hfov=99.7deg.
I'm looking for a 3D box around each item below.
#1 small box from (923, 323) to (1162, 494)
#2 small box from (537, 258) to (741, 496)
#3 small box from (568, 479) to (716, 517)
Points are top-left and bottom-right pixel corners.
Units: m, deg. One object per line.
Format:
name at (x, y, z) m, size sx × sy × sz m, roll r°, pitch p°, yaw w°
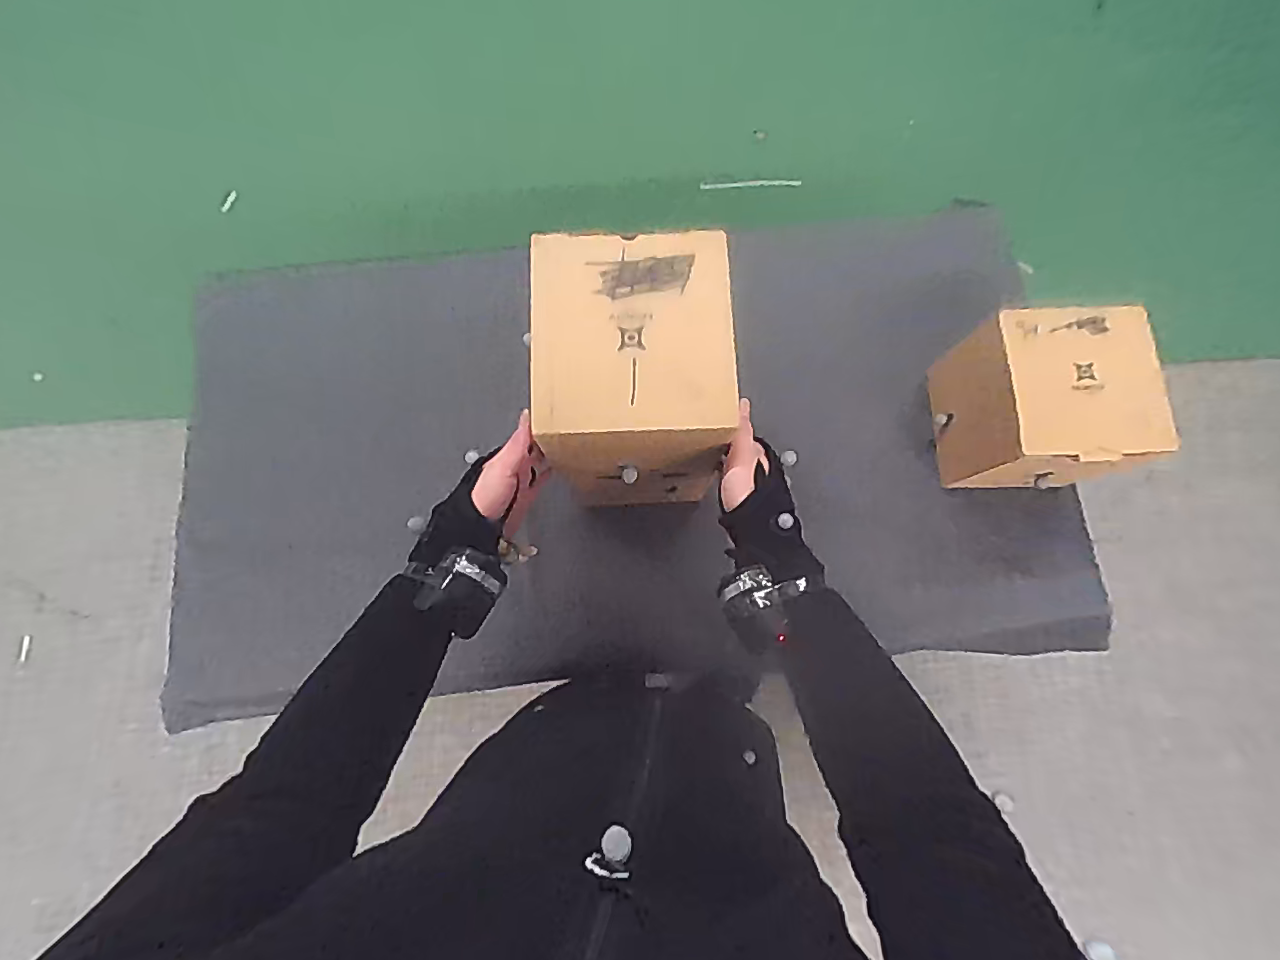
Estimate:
small box at (0.487, -0.078, 0.685) m, size 0.168 × 0.176 × 0.179 m, roll -2°, pitch 78°, yaw 0°
small box at (-0.005, -0.088, 0.523) m, size 0.168 × 0.176 × 0.179 m, roll -3°, pitch 78°, yaw -1°
small box at (-0.002, -0.050, 0.684) m, size 0.168 × 0.176 × 0.179 m, roll -4°, pitch 76°, yaw -2°
